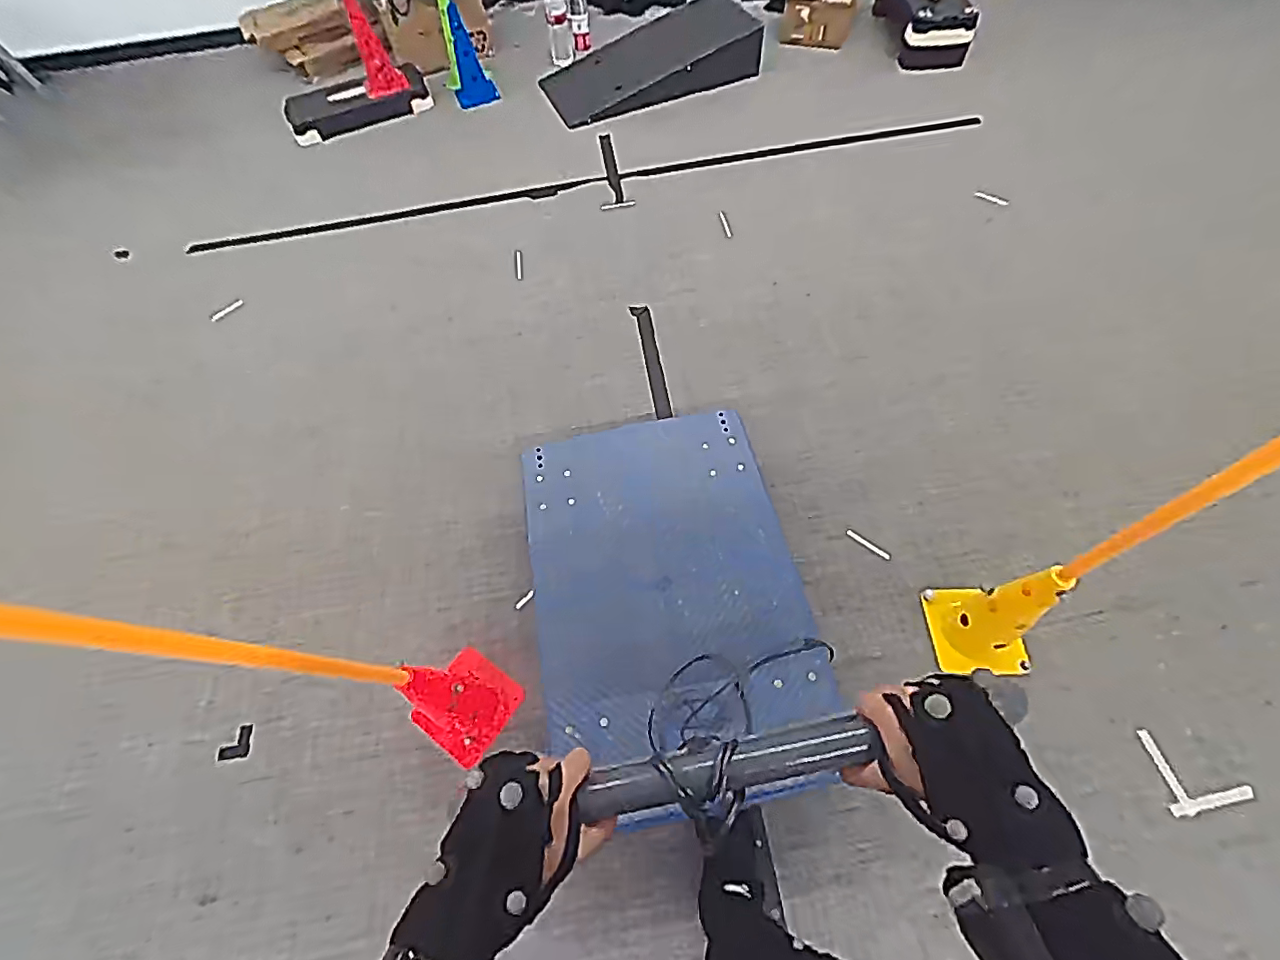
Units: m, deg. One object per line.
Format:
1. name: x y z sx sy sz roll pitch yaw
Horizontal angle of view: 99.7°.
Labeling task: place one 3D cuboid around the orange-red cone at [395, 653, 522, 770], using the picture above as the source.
1. orange-red cone: -0.403 0.437 1.092 0.198 0.360 0.199 31 65 19
